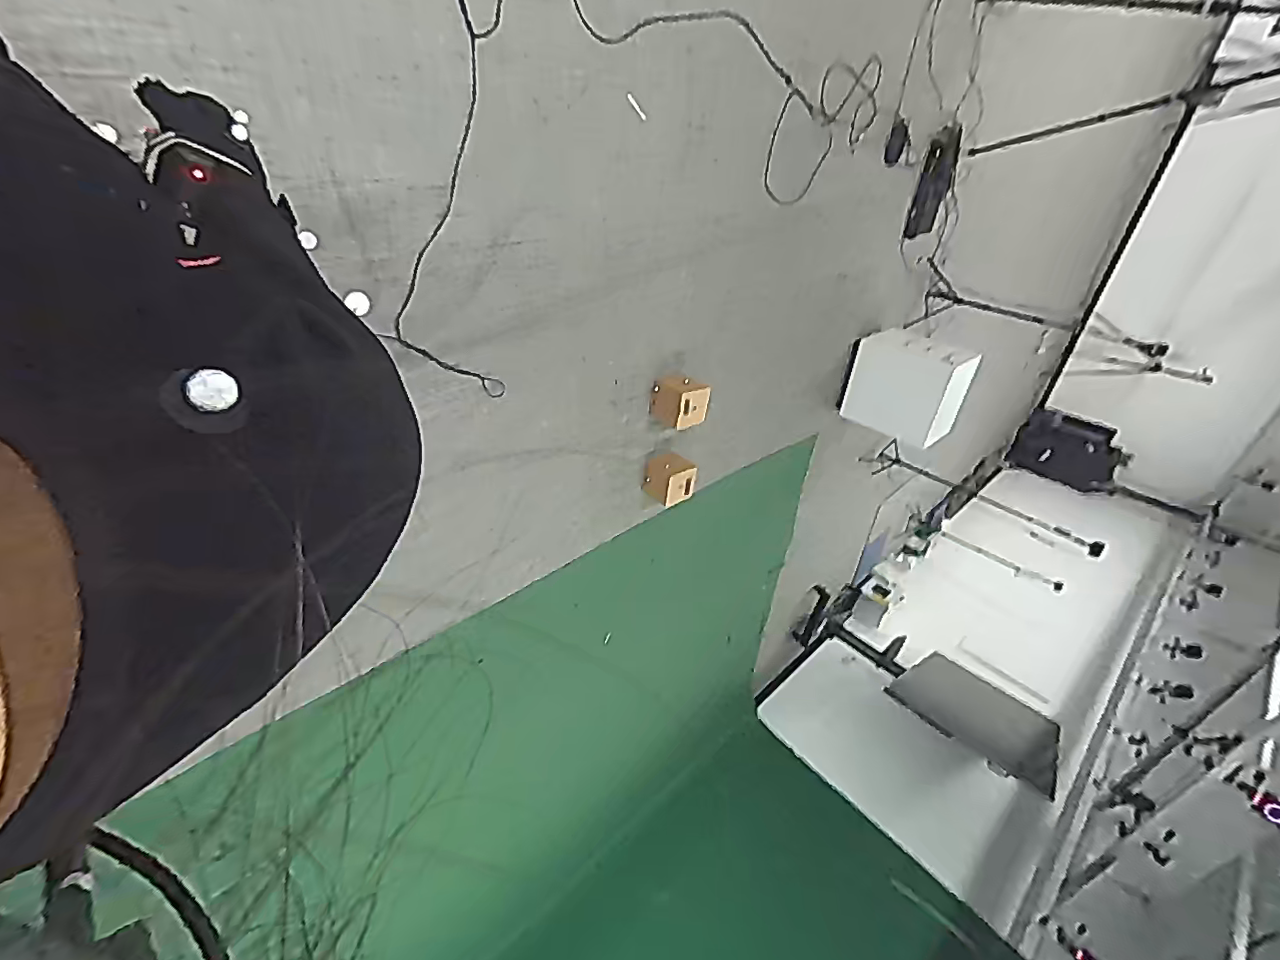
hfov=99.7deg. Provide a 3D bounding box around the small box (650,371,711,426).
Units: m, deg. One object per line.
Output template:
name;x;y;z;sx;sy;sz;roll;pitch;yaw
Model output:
small box;0.165;-0.346;2.256;0.179;0.176;0.168;-20;131;-39
